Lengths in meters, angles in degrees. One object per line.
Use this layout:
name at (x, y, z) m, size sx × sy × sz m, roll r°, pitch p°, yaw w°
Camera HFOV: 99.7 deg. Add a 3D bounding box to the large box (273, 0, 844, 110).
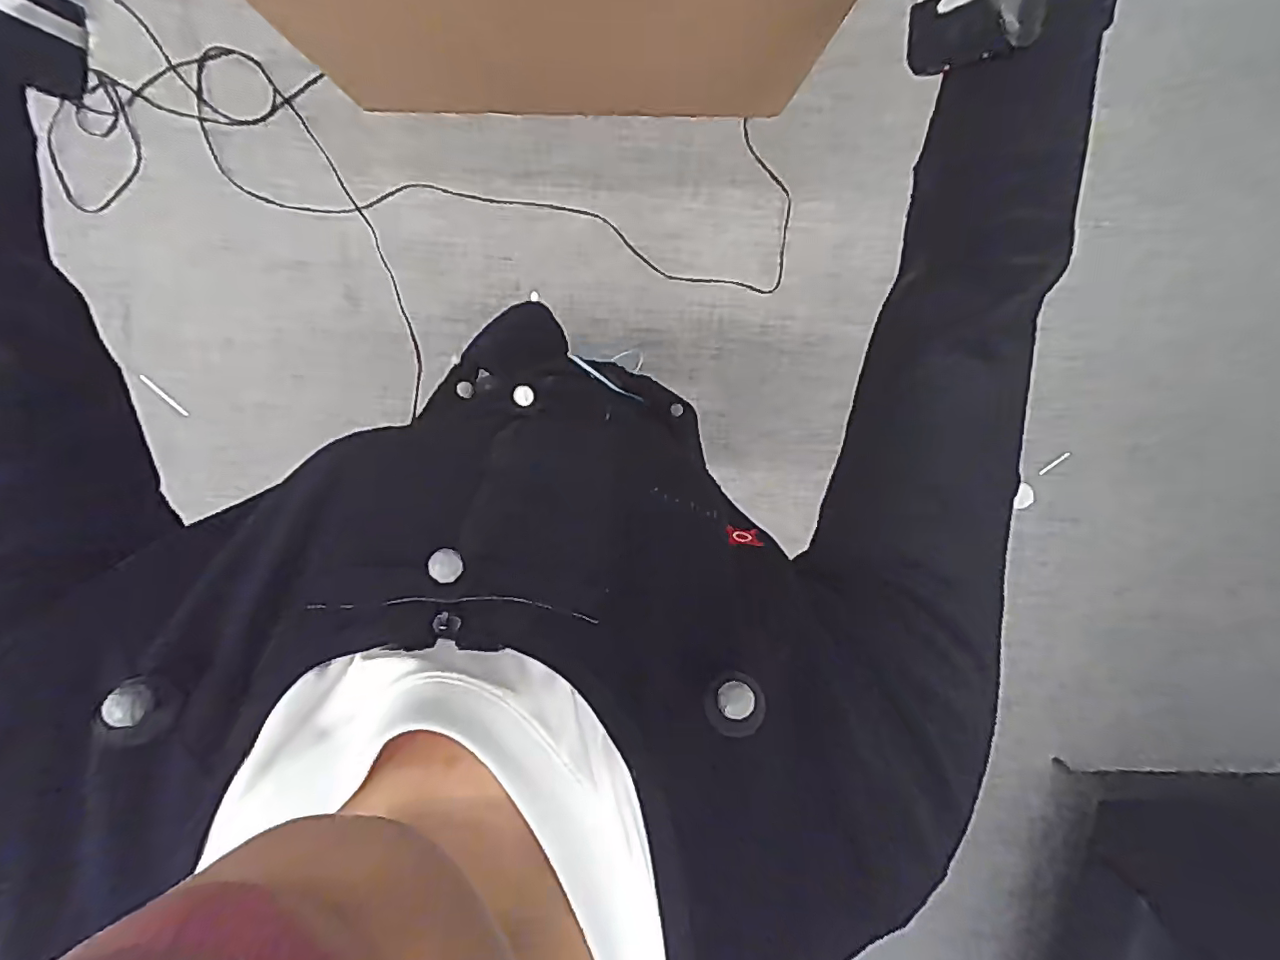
large box at (-0.057, -0.475, 0.345) m, size 0.408 × 0.320 × 0.320 m, roll -1°, pitch 103°, yaw -3°
